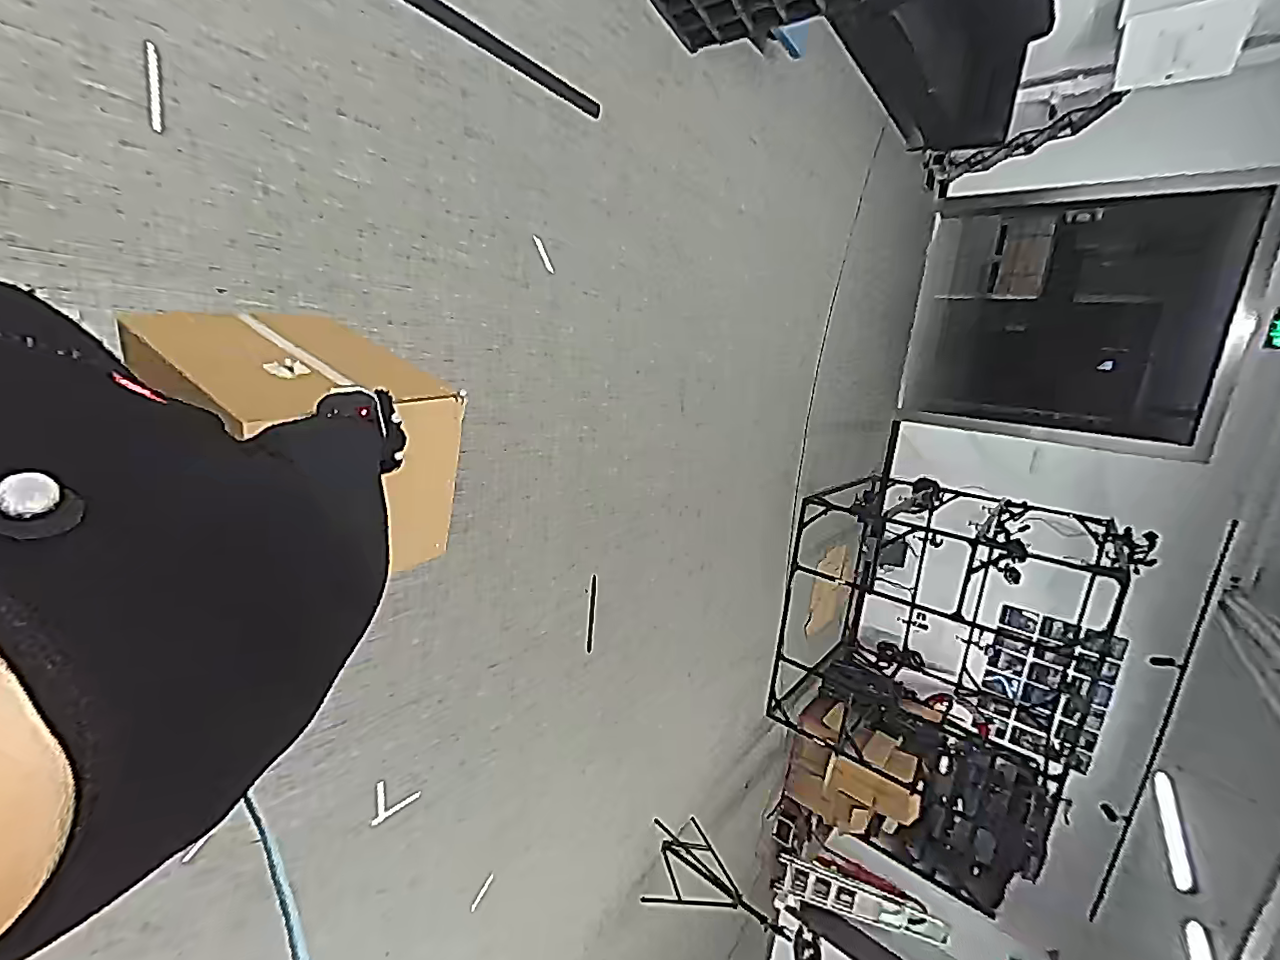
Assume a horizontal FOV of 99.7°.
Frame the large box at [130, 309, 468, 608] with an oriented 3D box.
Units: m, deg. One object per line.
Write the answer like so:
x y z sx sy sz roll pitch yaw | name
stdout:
-0.559 -0.064 0.903 0.320 0.408 0.320 -23 137 -52 | large box
